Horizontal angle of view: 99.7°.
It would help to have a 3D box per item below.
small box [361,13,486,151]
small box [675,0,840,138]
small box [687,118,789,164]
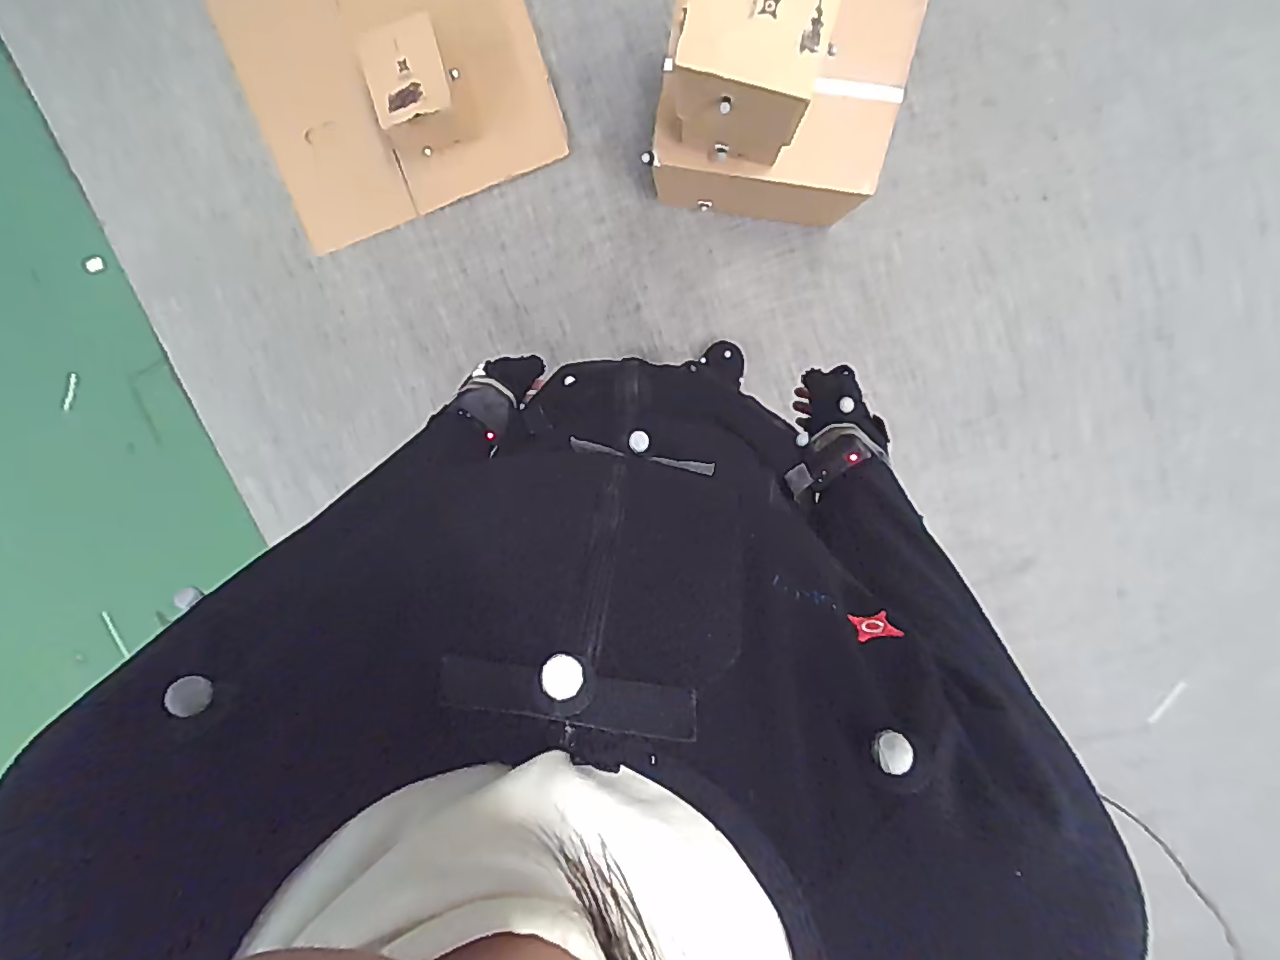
[{"bbox_3d":[-0.456,-0.841,1.169,0.168,0.176,0.179,-11,101,9],"label":"small box"},{"bbox_3d":[0.152,-0.577,0.705,0.179,0.176,0.168,13,104,3],"label":"small box"},{"bbox_3d":[0.170,-0.633,0.856,0.168,0.176,0.179,13,107,4],"label":"small box"}]
